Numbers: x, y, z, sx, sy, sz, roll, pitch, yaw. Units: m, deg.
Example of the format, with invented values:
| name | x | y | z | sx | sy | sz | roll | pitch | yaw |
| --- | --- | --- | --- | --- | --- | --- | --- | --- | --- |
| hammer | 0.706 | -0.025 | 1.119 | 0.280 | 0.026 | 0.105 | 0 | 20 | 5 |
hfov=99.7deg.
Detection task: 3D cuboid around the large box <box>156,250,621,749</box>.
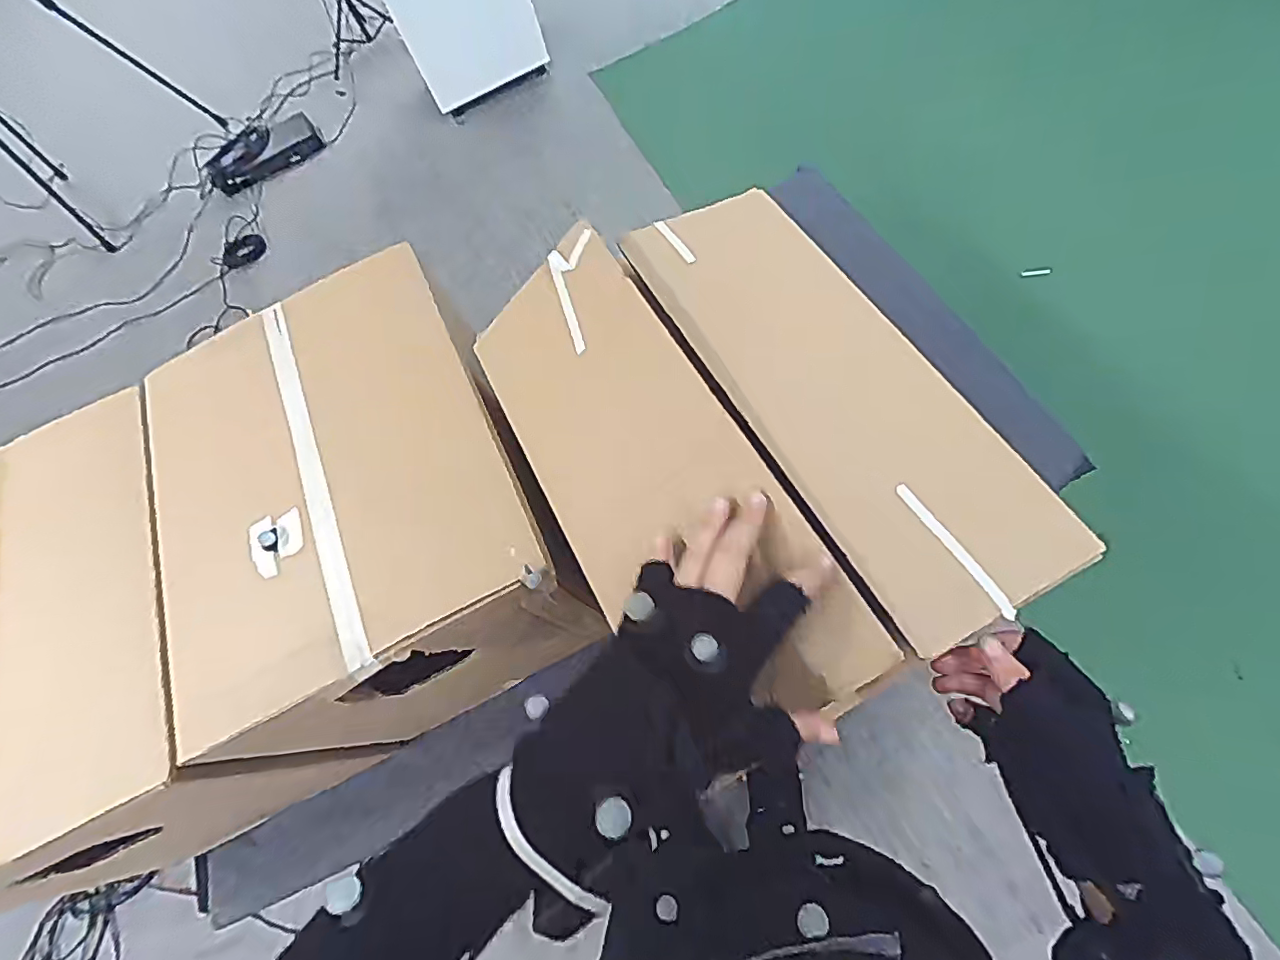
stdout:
| name | x | y | z | sx | sy | sz | roll | pitch | yaw |
| --- | --- | --- | --- | --- | --- | --- | --- | --- | --- |
| large box | -0.263 | 0.033 | 0.631 | 0.320 | 0.320 | 0.408 | -28 | 66 | -1 |
